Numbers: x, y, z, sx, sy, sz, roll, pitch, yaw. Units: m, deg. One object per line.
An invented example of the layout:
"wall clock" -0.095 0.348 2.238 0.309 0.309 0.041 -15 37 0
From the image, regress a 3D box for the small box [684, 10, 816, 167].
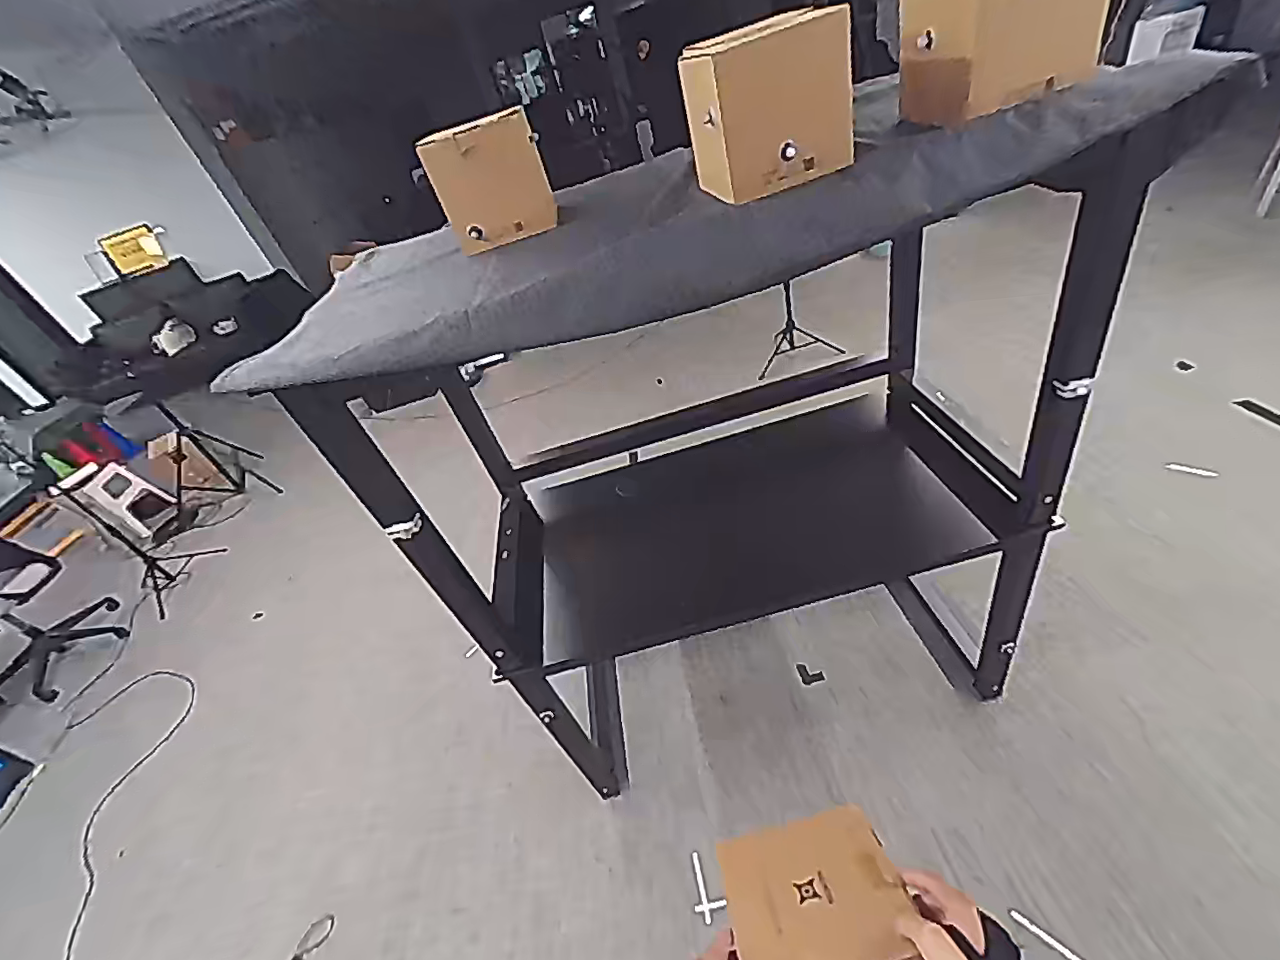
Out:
"small box" 0.180 -0.639 0.895 0.168 0.176 0.179 -16 37 5

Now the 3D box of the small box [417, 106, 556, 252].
"small box" -0.247 -0.507 0.919 0.168 0.176 0.179 -16 37 4

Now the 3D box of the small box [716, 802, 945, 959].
"small box" 0.194 0.483 0.555 0.179 0.176 0.168 -17 12 1
